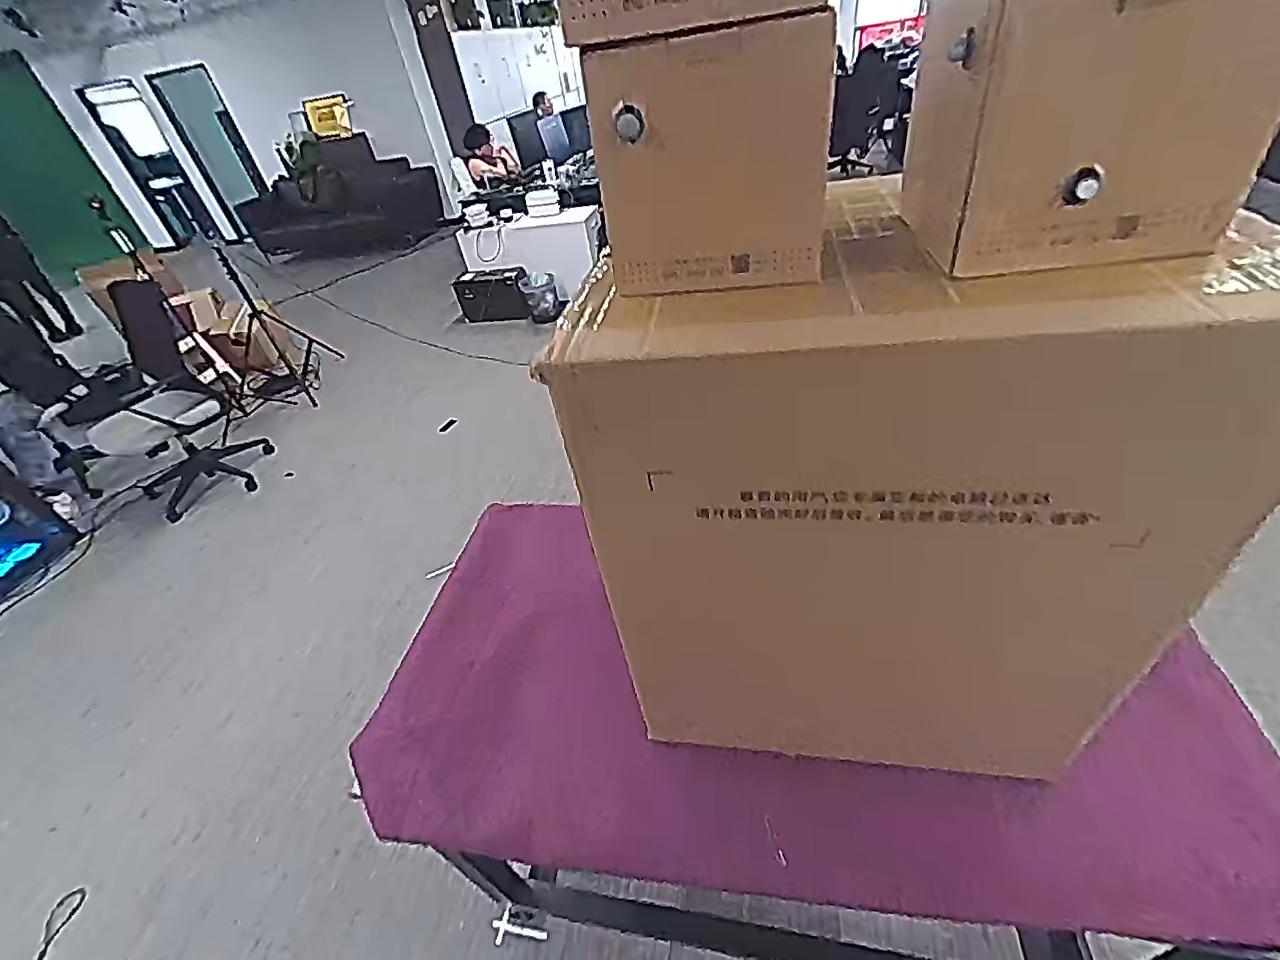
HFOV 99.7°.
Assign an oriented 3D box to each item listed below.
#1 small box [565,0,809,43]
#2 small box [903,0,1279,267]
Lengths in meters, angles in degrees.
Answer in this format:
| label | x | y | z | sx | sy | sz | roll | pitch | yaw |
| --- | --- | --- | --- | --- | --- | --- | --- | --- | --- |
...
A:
| label | x | y | z | sx | sy | sz | roll | pitch | yaw |
| --- | --- | --- | --- | --- | --- | --- | --- | --- | --- |
| small box | 0.031 | -0.399 | 0.345 | 0.168 | 0.176 | 0.179 | -1 | 39 | 9 |
| small box | 0.305 | -0.271 | 0.392 | 0.168 | 0.176 | 0.179 | -3 | 40 | 12 |
